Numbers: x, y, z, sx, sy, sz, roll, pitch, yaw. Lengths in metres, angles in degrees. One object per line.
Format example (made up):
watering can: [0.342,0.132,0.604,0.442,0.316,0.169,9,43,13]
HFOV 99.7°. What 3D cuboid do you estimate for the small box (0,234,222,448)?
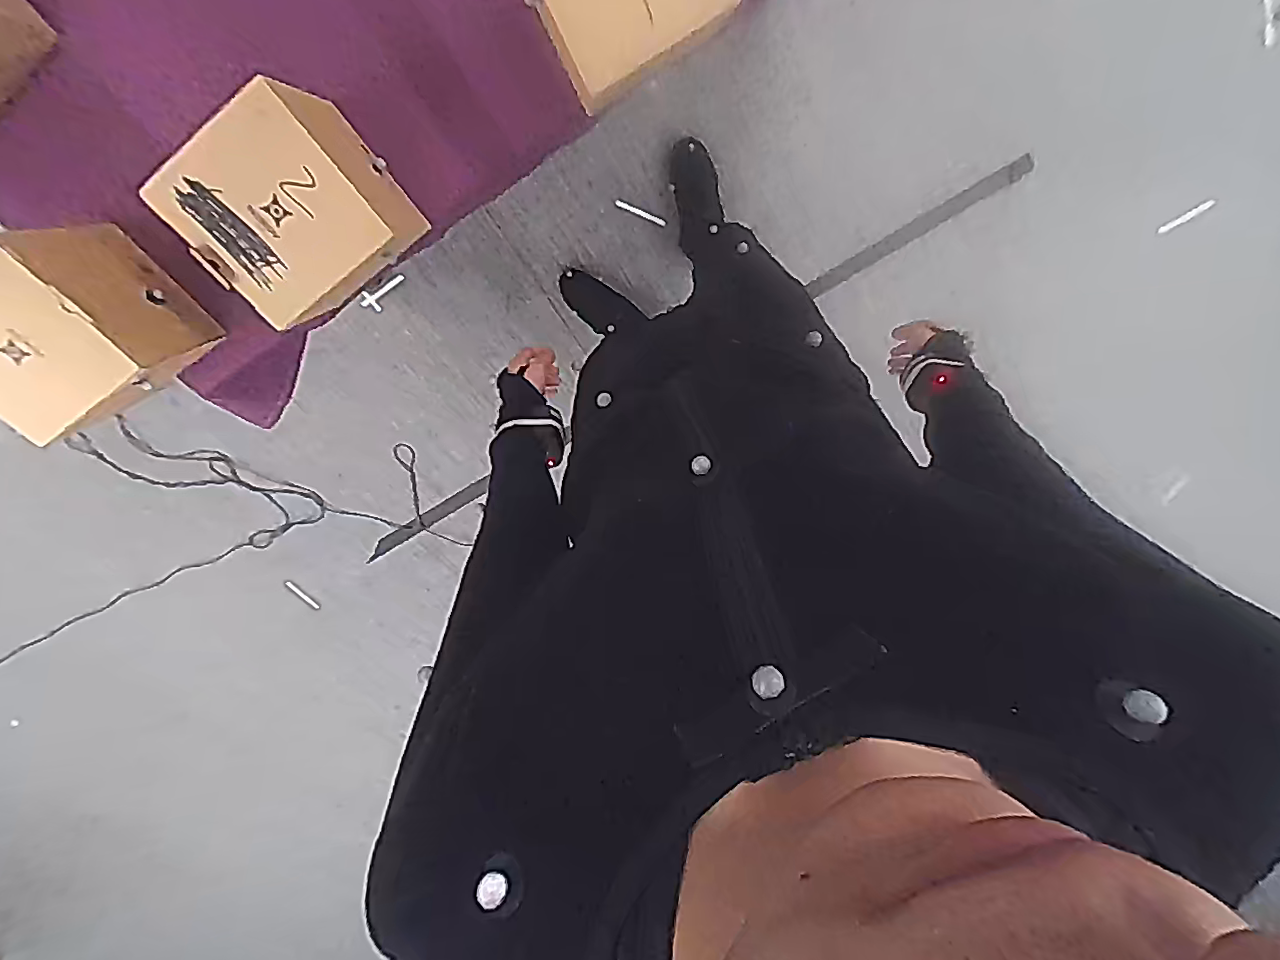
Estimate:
small box: [-0.670,-0.173,0.654,0.179,0.176,0.168,-32,117,9]

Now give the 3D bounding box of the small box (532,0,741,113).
small box: [-0.024,-0.509,0.545,0.168,0.176,0.179,-27,118,9]
